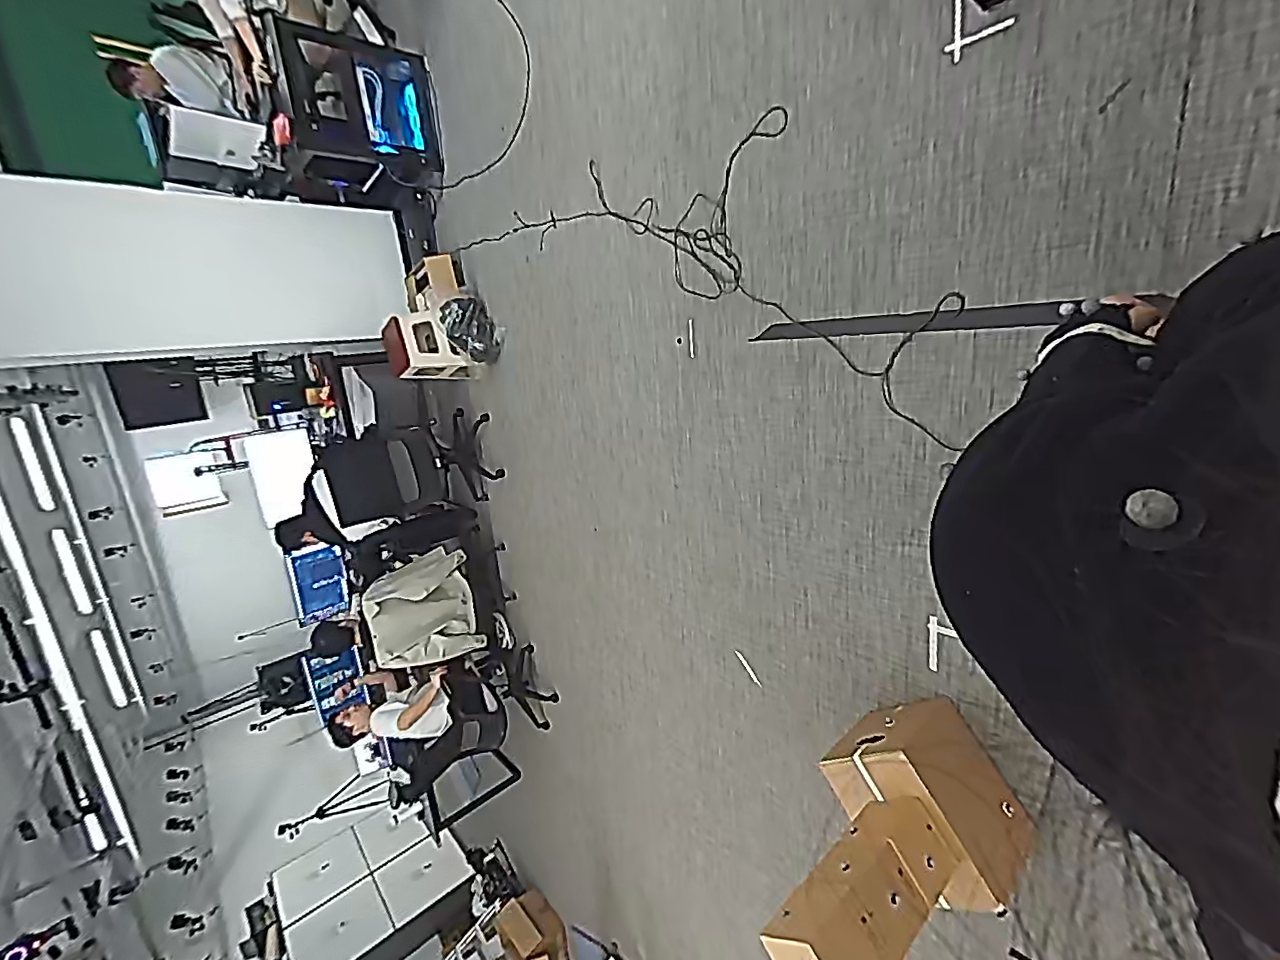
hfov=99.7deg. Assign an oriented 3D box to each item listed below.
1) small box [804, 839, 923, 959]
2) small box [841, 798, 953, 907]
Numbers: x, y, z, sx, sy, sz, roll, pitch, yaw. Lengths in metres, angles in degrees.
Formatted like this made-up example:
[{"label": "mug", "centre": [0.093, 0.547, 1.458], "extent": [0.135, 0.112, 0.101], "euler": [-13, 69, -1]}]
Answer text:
[{"label": "small box", "centre": [0.531, 0.978, 1.272], "extent": [0.168, 0.176, 0.179], "euler": [60, 140, 16]}, {"label": "small box", "centre": [0.656, 0.933, 1.368], "extent": [0.168, 0.176, 0.179], "euler": [60, 140, 16]}]
